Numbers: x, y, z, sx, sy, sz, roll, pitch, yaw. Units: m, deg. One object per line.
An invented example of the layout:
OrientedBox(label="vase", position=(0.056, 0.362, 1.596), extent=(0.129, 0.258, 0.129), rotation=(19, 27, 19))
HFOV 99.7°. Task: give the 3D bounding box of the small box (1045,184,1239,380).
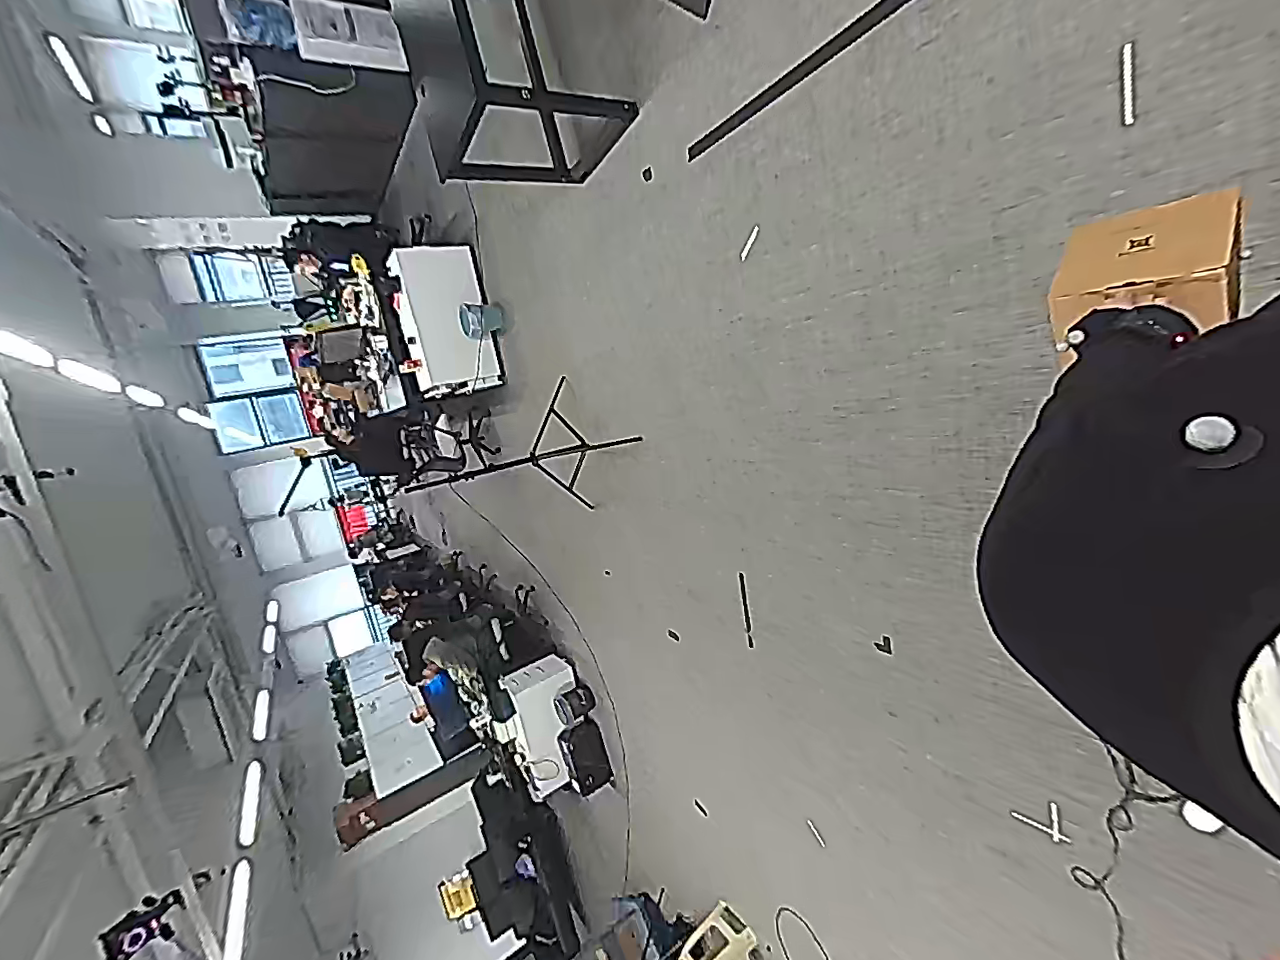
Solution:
OrientedBox(label="small box", position=(0.680, -0.249, 0.731), extent=(0.168, 0.179, 0.176), rotation=(5, 142, 50))
